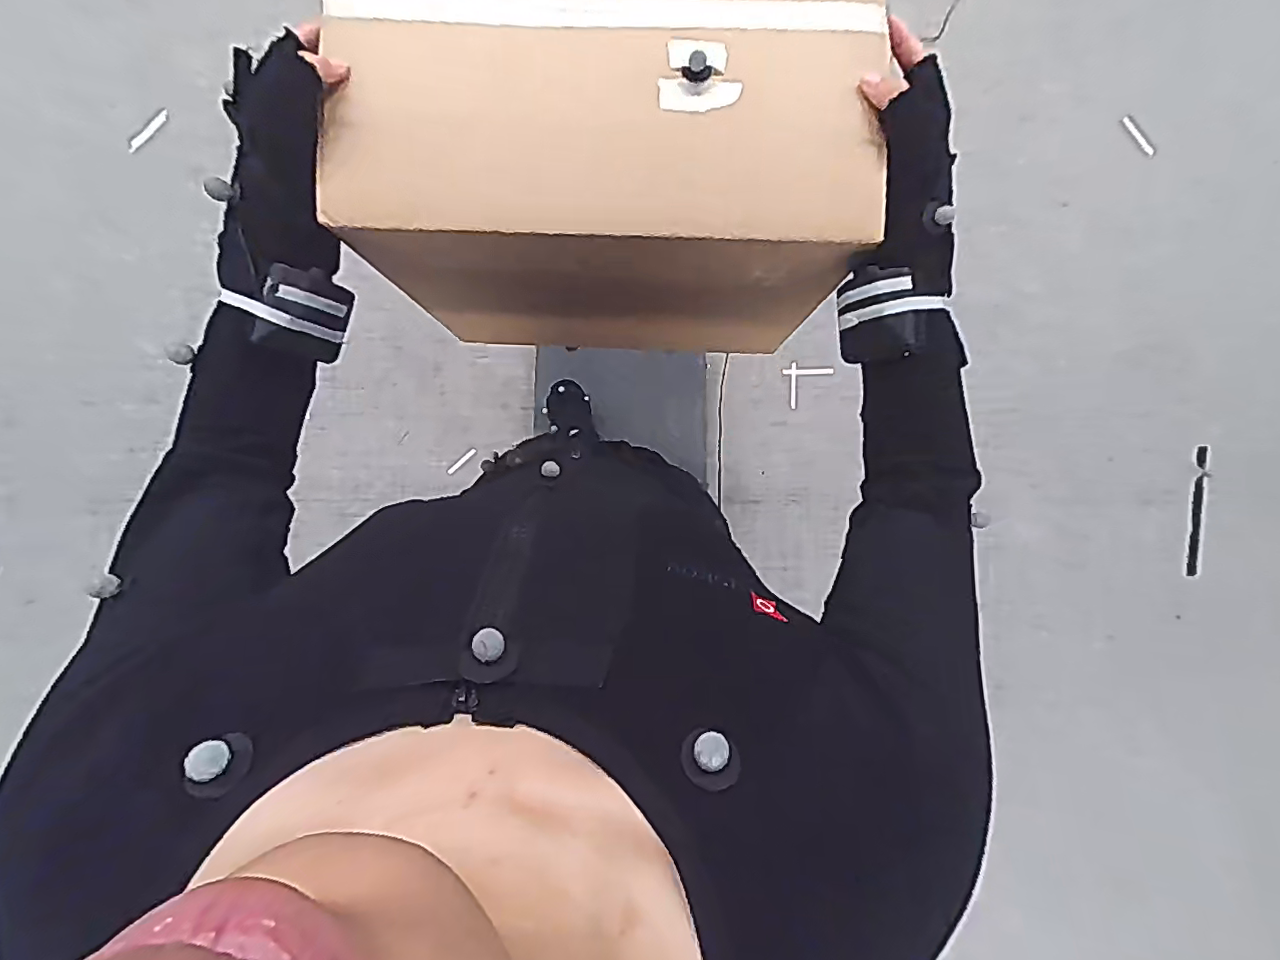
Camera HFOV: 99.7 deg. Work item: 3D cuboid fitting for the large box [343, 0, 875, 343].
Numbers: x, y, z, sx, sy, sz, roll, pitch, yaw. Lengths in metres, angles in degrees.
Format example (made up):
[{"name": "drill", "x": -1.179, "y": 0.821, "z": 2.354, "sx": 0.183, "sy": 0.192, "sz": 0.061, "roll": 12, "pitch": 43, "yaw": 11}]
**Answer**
[{"name": "large box", "x": -0.023, "y": -0.336, "z": 0.556, "sx": 0.408, "sy": 0.320, "sz": 0.320, "roll": 2, "pitch": 89, "yaw": 0}]
